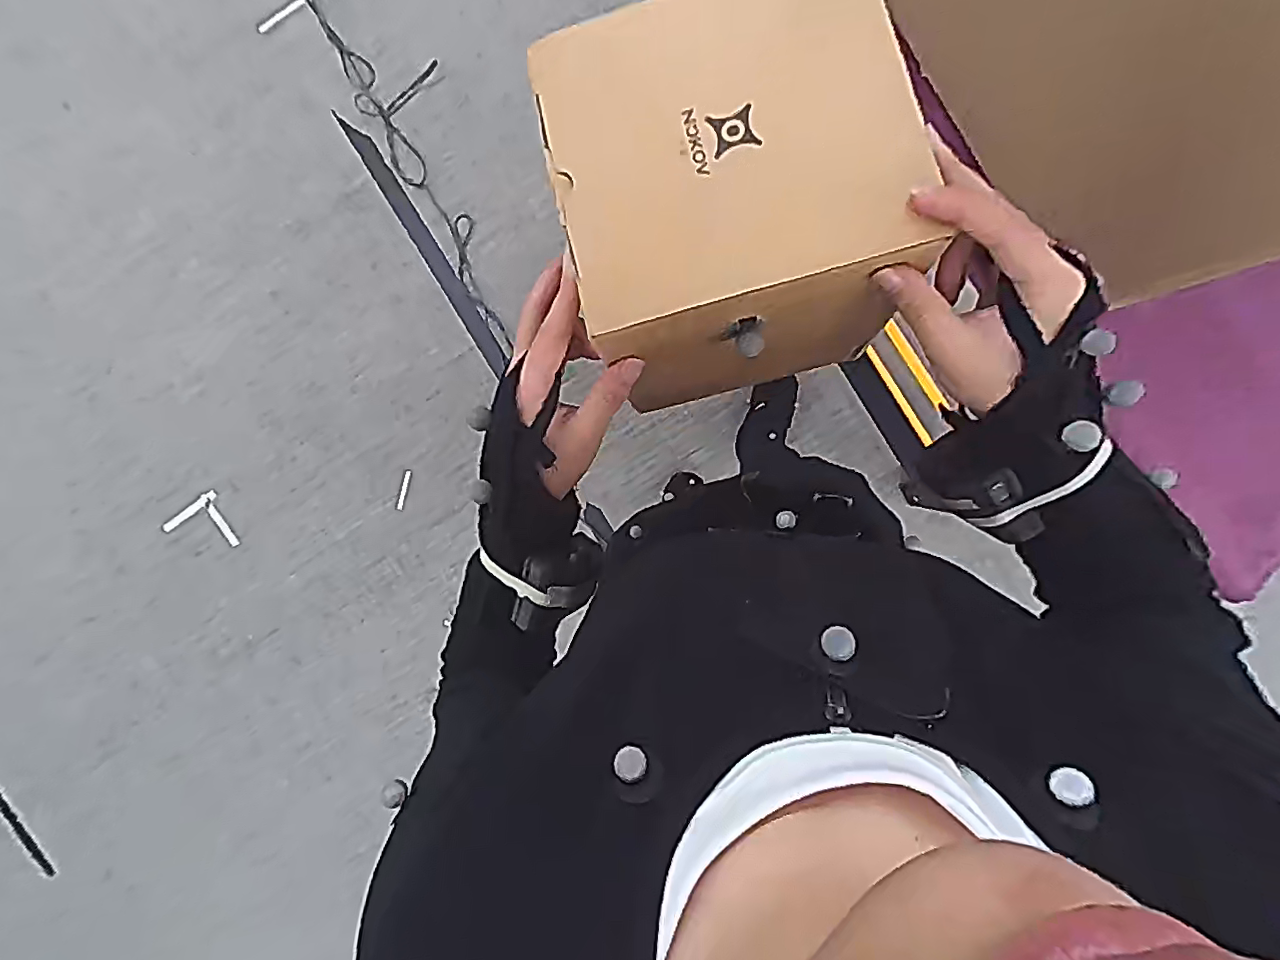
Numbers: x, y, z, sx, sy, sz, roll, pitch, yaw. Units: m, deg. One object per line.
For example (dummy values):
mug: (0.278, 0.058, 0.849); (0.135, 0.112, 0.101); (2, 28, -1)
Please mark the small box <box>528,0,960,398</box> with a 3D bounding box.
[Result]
small box: (0.053, -0.163, 0.336); (0.179, 0.176, 0.168); (-14, 84, 7)
